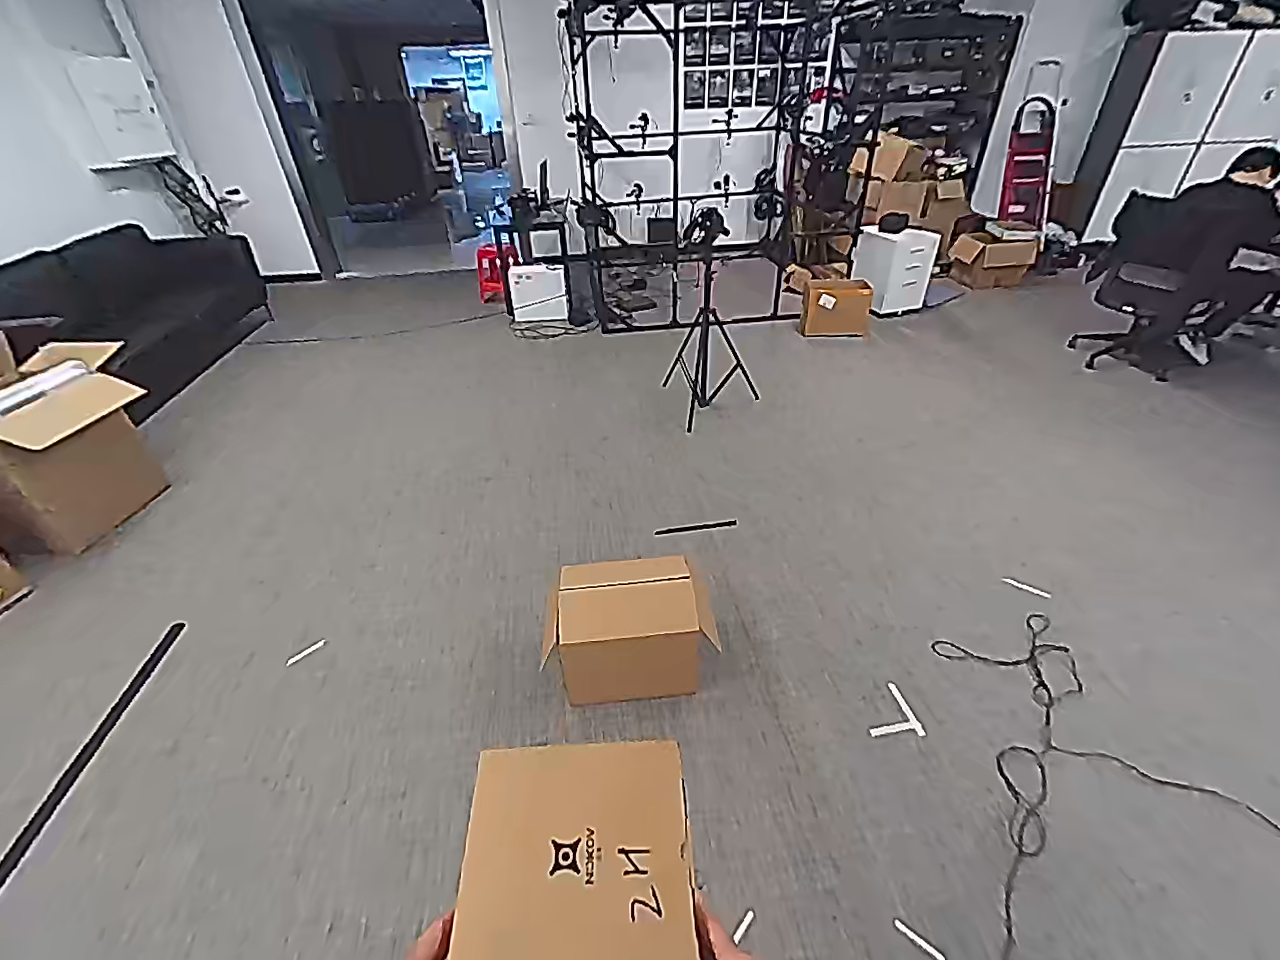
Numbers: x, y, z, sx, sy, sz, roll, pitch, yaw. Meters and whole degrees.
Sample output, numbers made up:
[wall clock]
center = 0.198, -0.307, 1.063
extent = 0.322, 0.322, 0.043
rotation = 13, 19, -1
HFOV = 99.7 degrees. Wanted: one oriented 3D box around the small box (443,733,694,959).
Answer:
[small box]
center = -0.049, 0.341, 0.475
extent = 0.179, 0.176, 0.168
rotation = -2, 45, -1
